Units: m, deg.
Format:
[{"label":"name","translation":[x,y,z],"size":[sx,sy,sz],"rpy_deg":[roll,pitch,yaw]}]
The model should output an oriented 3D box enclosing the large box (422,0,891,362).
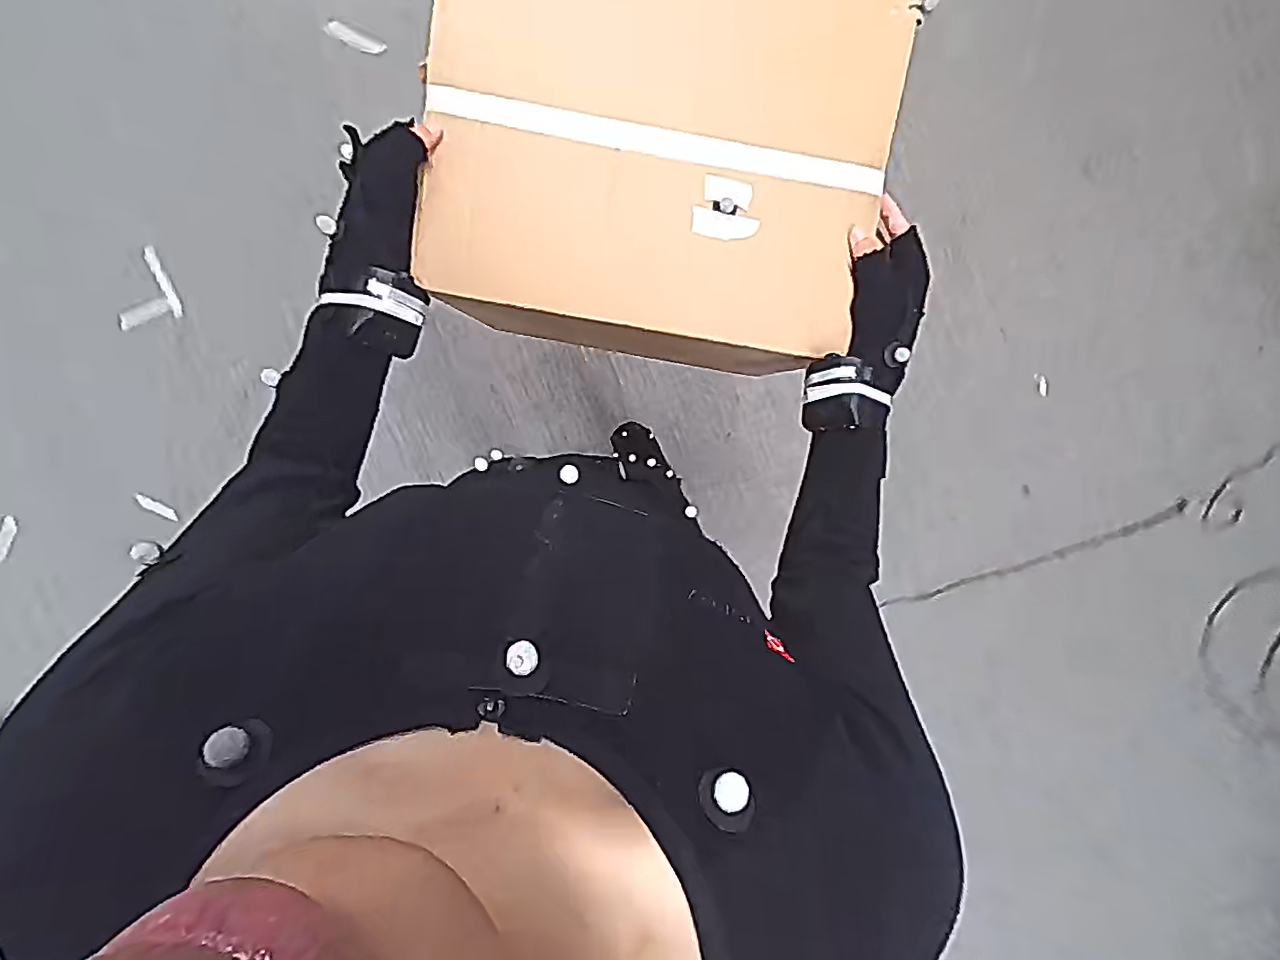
[{"label":"large box","translation":[0.002,-0.325,0.637],"size":[0.408,0.320,0.320],"rpy_deg":[7,99,-4]}]
